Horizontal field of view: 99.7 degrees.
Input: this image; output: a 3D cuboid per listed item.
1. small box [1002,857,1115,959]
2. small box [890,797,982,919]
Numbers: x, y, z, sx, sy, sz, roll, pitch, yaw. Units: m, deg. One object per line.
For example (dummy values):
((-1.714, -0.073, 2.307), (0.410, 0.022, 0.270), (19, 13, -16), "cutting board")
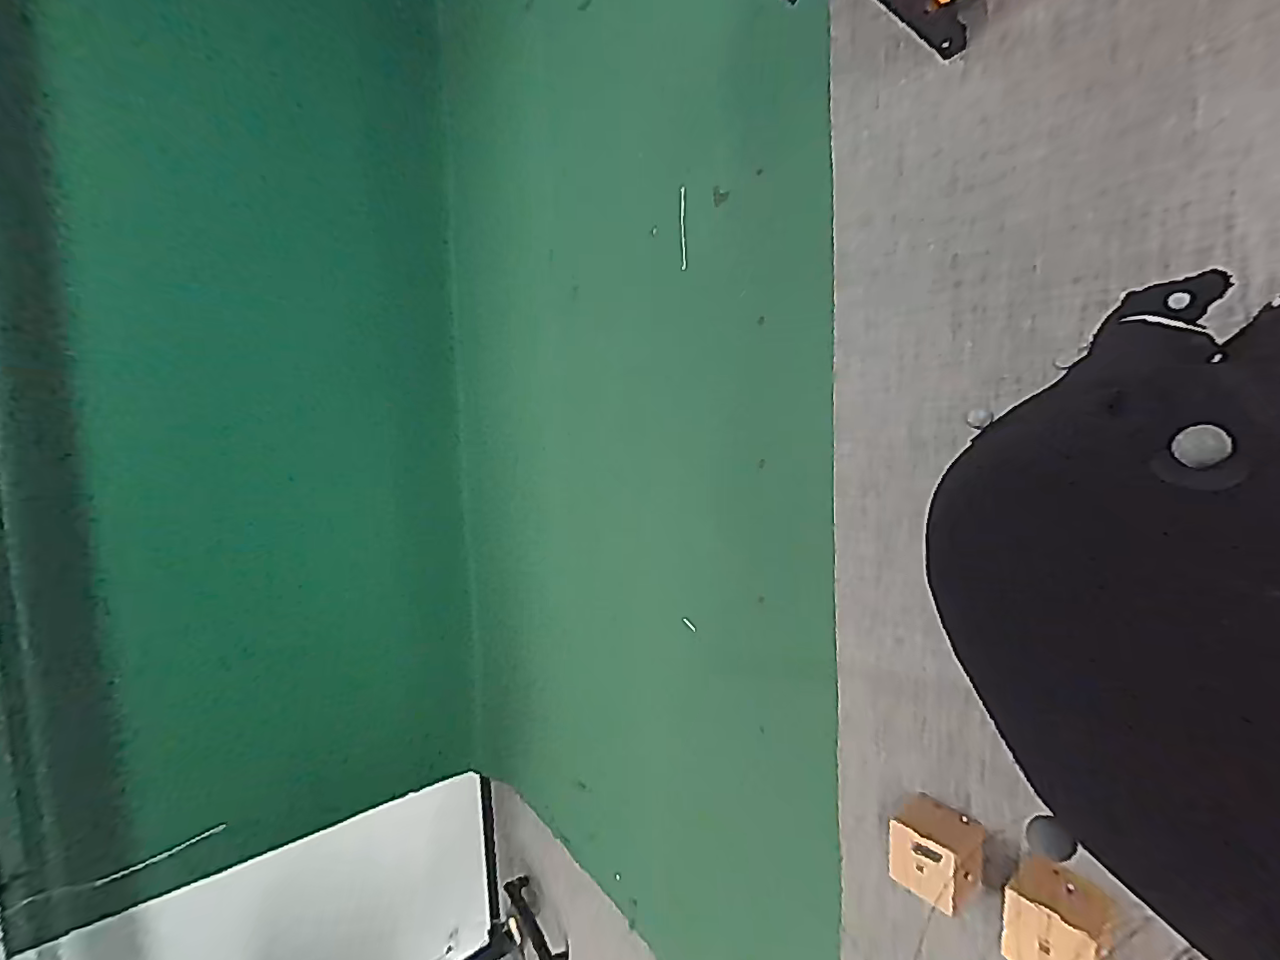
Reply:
((0.957, 1.025, 1.235), (0.168, 0.176, 0.179), (7, 99, 52), "small box")
((0.791, 0.995, 1.445), (0.168, 0.176, 0.179), (6, 99, 52), "small box")
